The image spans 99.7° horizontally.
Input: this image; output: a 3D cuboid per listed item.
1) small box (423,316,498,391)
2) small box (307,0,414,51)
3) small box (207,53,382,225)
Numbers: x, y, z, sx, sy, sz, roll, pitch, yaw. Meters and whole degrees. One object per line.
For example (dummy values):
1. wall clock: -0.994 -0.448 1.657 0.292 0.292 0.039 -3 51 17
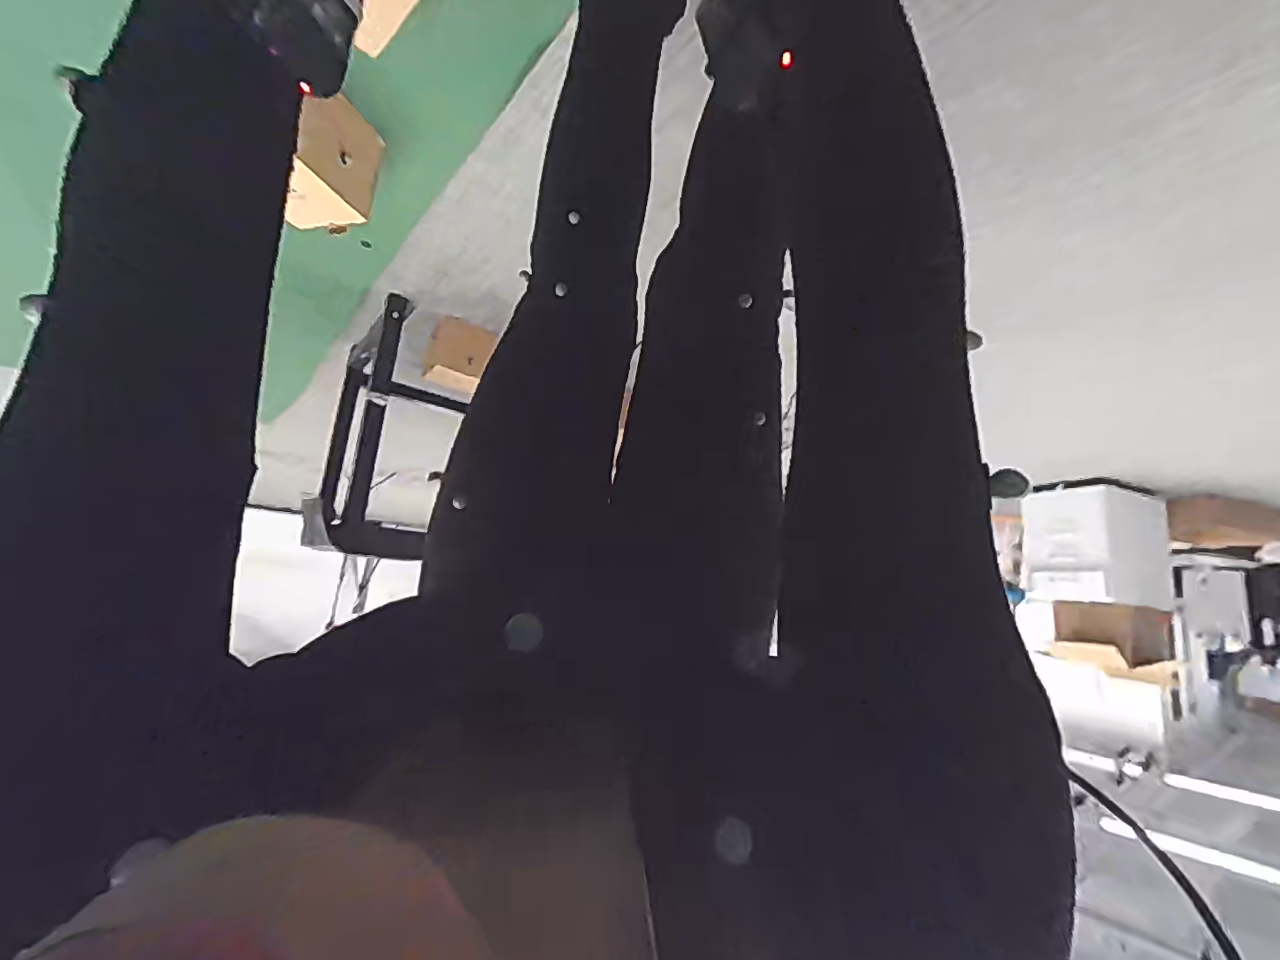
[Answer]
1. small box: -0.574 -0.405 1.738 0.179 0.176 0.168 14 165 -36
2. small box: -0.300 -0.613 0.549 0.179 0.176 0.168 -6 166 42
3. small box: -0.571 -0.567 0.917 0.168 0.176 0.179 2 169 17
